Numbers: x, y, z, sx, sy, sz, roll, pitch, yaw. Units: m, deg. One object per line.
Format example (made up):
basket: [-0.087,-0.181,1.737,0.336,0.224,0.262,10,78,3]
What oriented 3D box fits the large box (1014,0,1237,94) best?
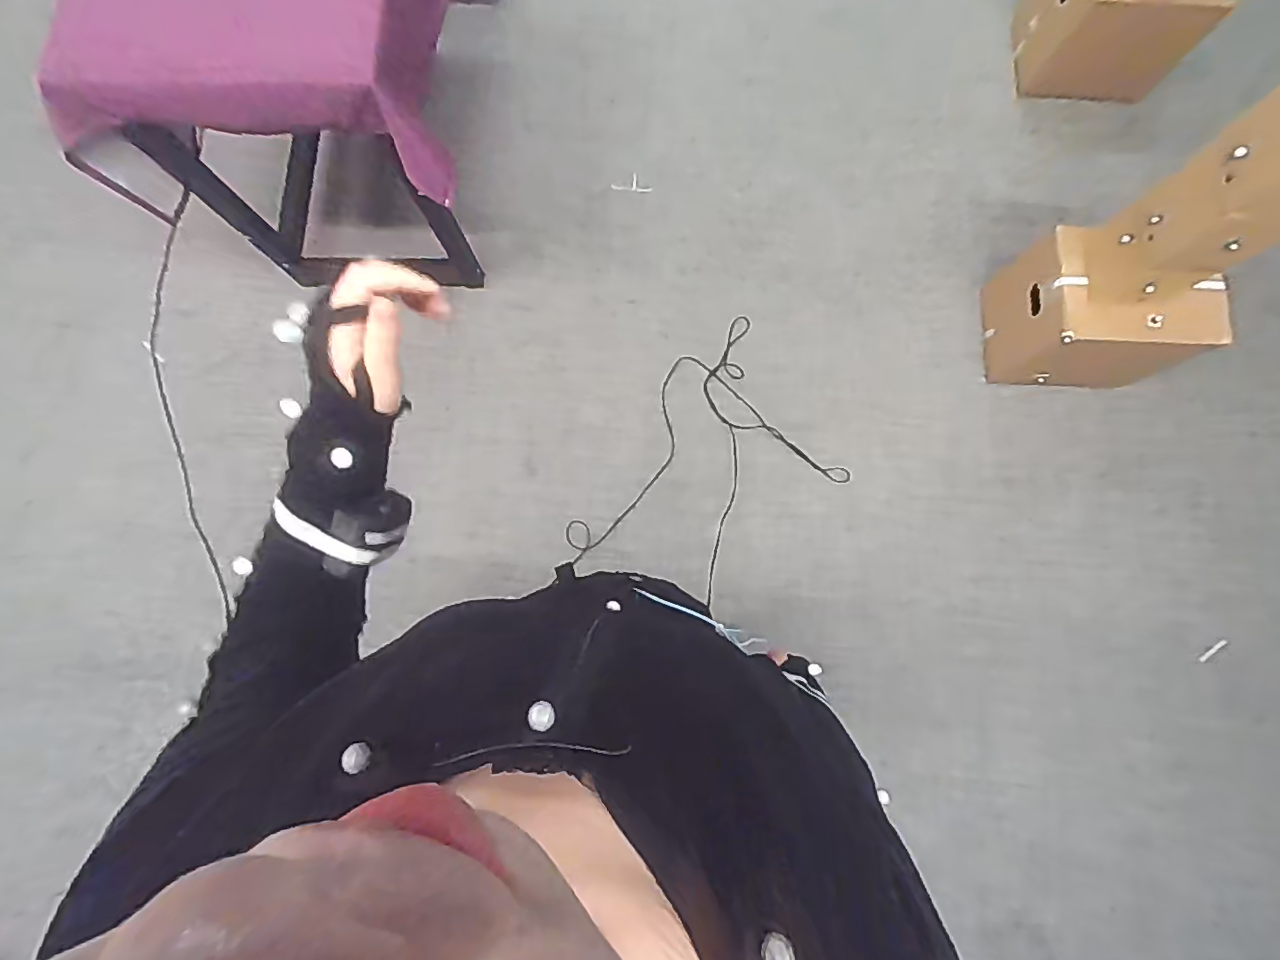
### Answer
large box: [1.466,-1.458,1.669,0.408,0.320,0.320,3,80,-1]

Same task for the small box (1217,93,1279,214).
small box: [1.176,-0.586,0.936,0.179,0.176,0.168,4,79,3]

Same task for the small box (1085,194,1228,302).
small box: [1.190,-0.532,1.261,0.168,0.176,0.179,1,79,0]
